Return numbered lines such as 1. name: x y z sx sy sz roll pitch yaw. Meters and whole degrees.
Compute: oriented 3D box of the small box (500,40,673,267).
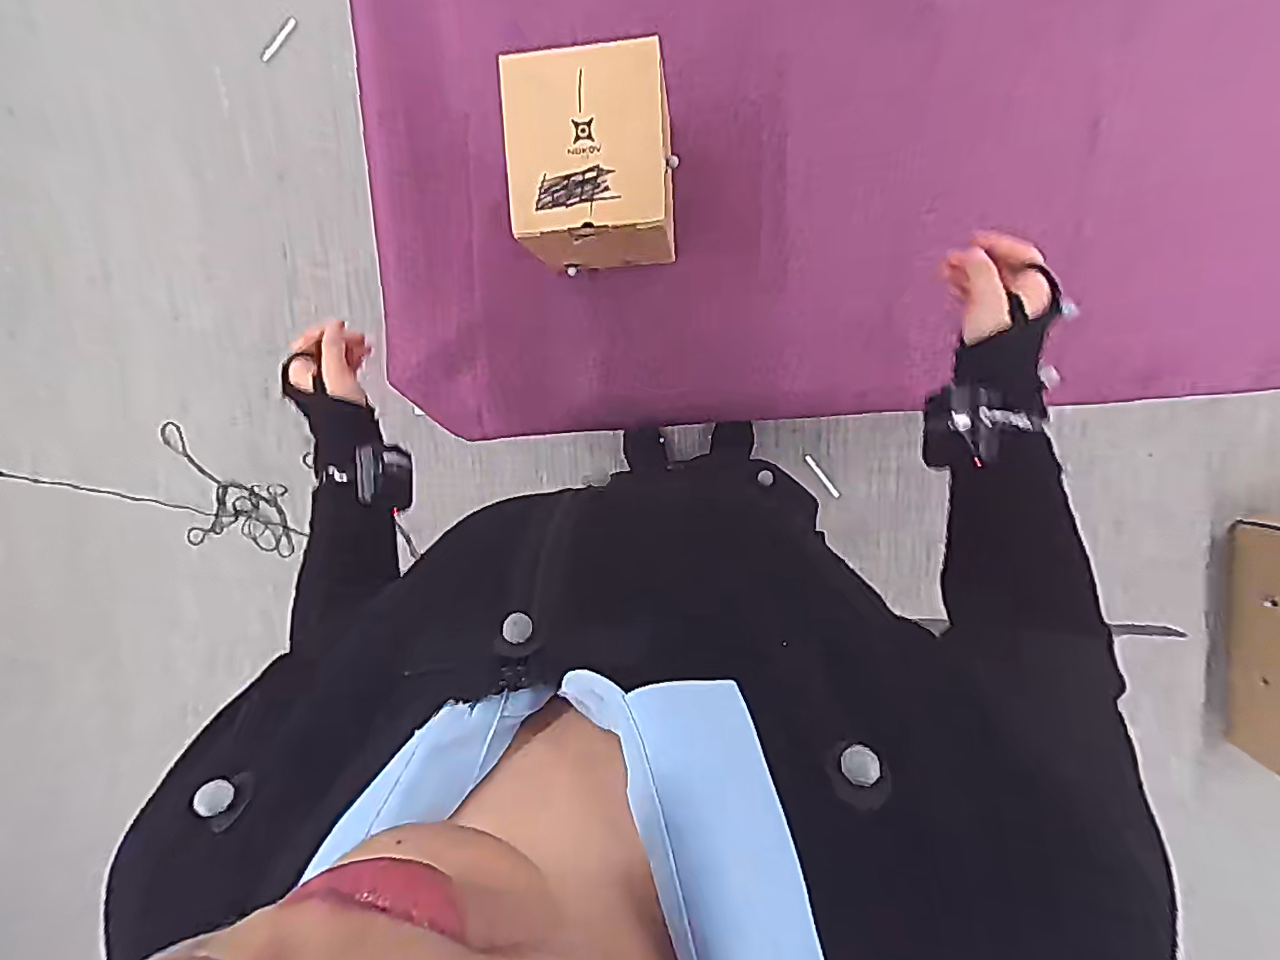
1. small box: -0.050 -0.356 0.630 0.168 0.176 0.179 -2 98 6
